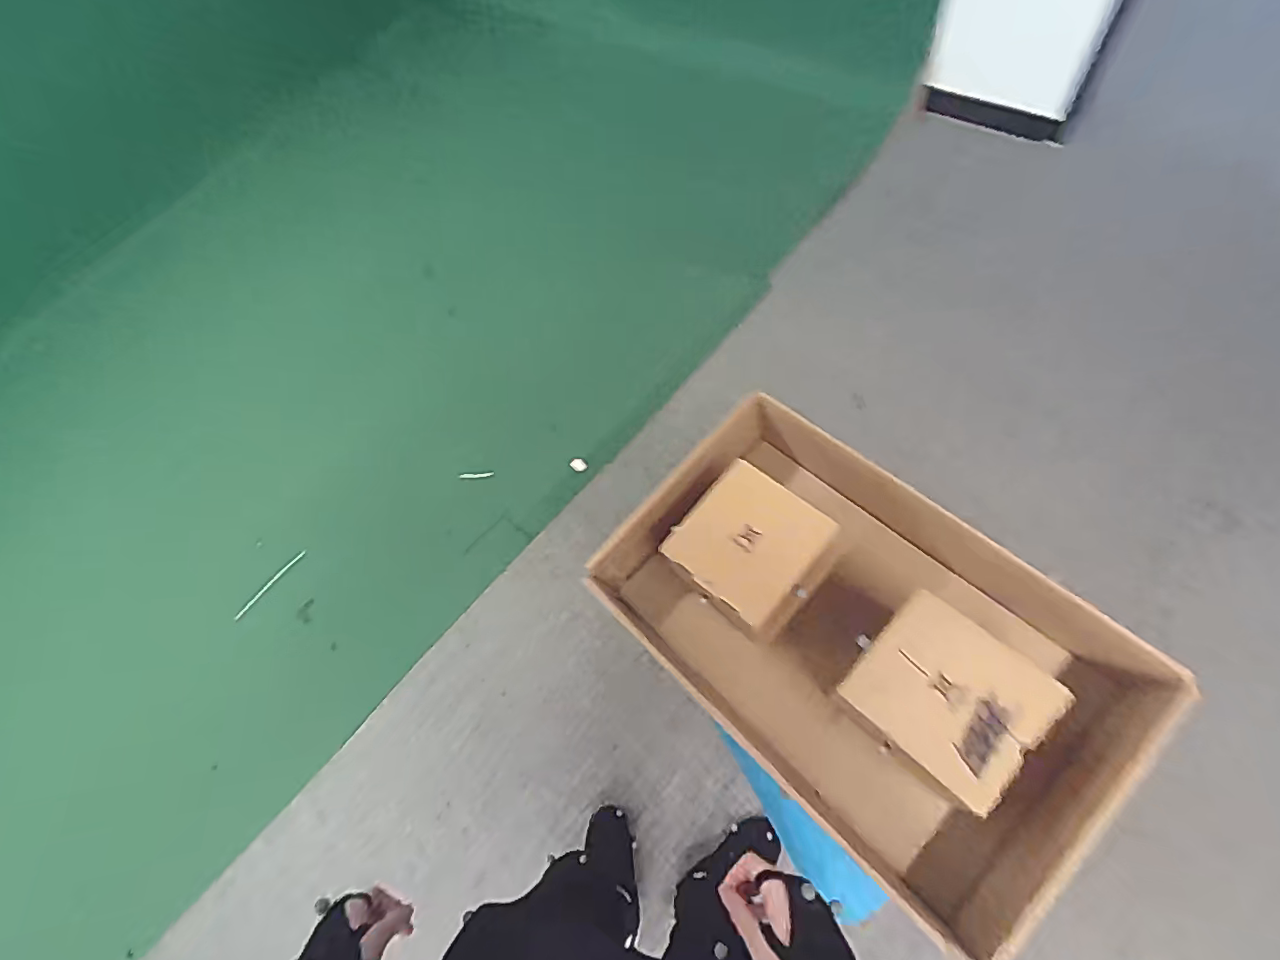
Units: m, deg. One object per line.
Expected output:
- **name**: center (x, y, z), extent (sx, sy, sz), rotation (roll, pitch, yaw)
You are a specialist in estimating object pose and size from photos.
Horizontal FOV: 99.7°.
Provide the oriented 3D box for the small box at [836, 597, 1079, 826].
- **small box**: center (0.365, 0.274, 0.660), extent (0.168, 0.176, 0.179), rotation (-46, 62, -9)
